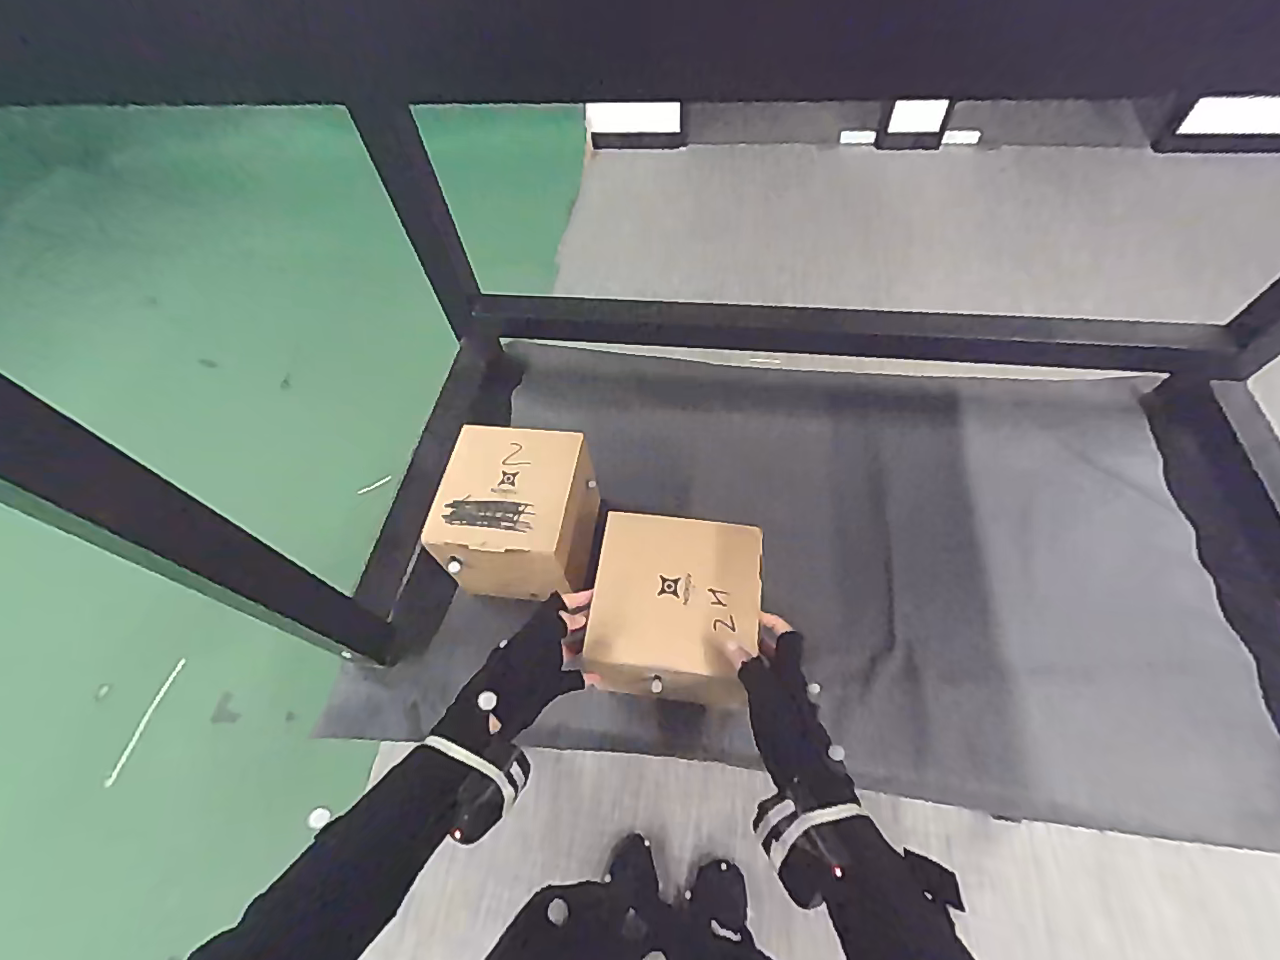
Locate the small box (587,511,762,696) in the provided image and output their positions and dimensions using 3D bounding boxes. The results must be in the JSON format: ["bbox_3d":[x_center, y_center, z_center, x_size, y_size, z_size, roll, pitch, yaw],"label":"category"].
[{"bbox_3d":[0.044,0.153,0.647,0.179,0.176,0.168,6,61,5],"label":"small box"}]
